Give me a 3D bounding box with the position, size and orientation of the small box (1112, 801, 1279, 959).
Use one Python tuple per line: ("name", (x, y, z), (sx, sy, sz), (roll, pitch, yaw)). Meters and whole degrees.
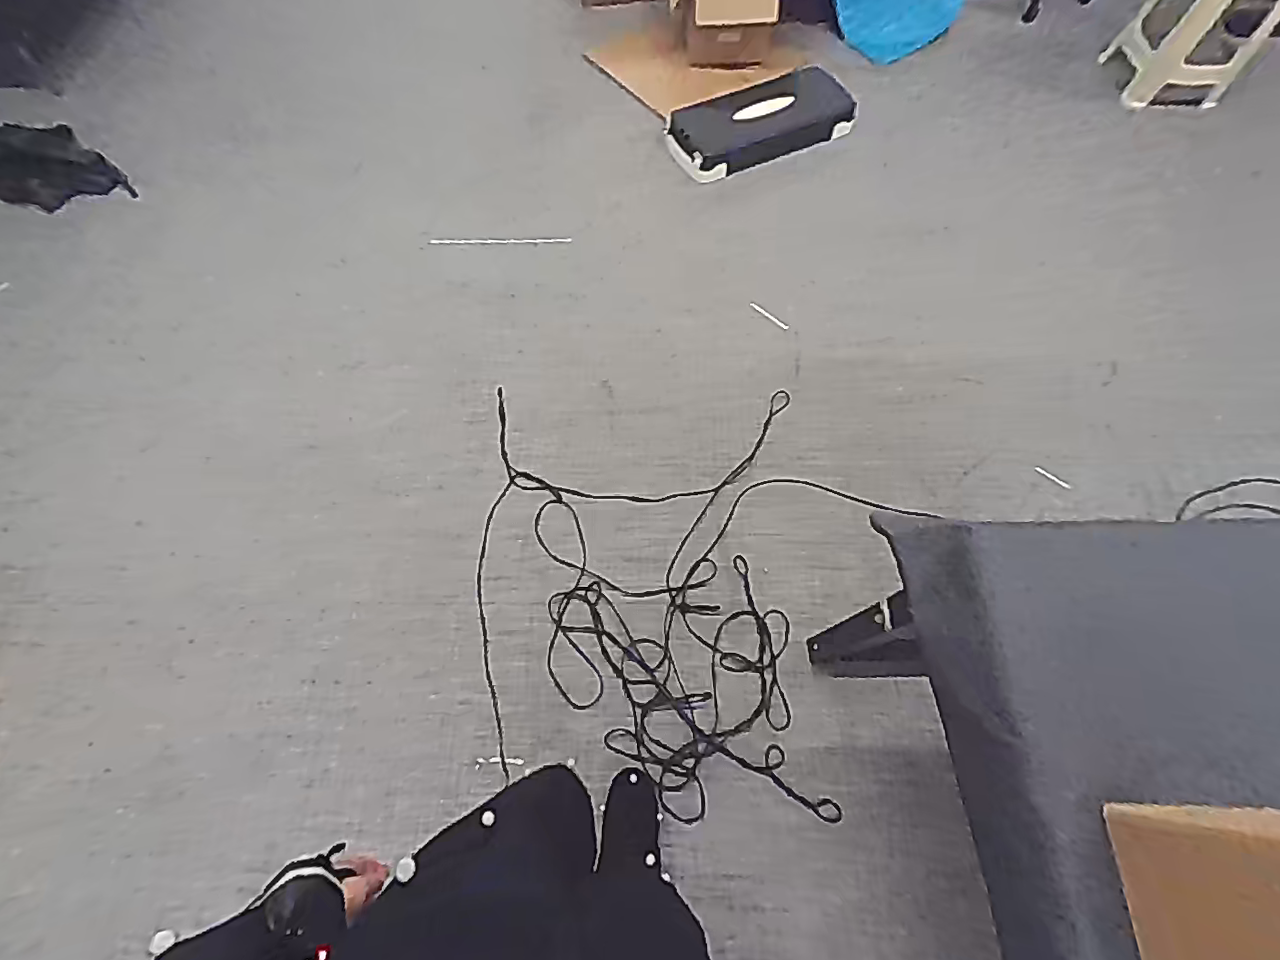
("small box", (0.497, 0.338, 0.383), (0.168, 0.176, 0.179), (2, 66, 0))
